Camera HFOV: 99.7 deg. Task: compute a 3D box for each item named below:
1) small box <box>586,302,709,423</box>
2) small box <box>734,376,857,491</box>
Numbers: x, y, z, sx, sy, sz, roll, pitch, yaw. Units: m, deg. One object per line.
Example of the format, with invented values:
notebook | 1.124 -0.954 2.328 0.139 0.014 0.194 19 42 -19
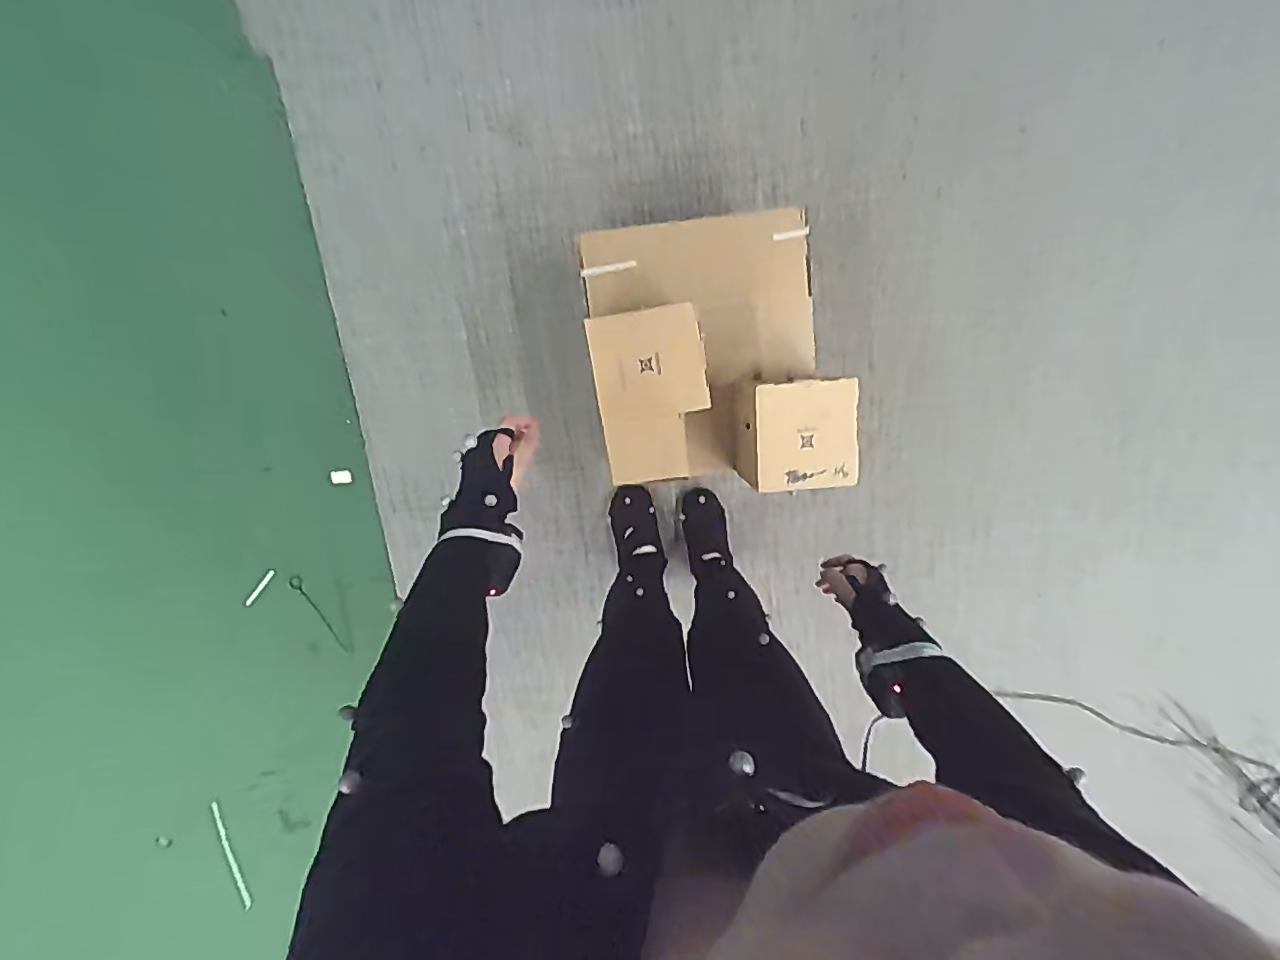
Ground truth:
small box | 0.012 -0.195 0.913 0.179 0.176 0.168 -9 100 2
small box | 0.260 -0.085 0.935 0.168 0.176 0.179 -4 100 -1
